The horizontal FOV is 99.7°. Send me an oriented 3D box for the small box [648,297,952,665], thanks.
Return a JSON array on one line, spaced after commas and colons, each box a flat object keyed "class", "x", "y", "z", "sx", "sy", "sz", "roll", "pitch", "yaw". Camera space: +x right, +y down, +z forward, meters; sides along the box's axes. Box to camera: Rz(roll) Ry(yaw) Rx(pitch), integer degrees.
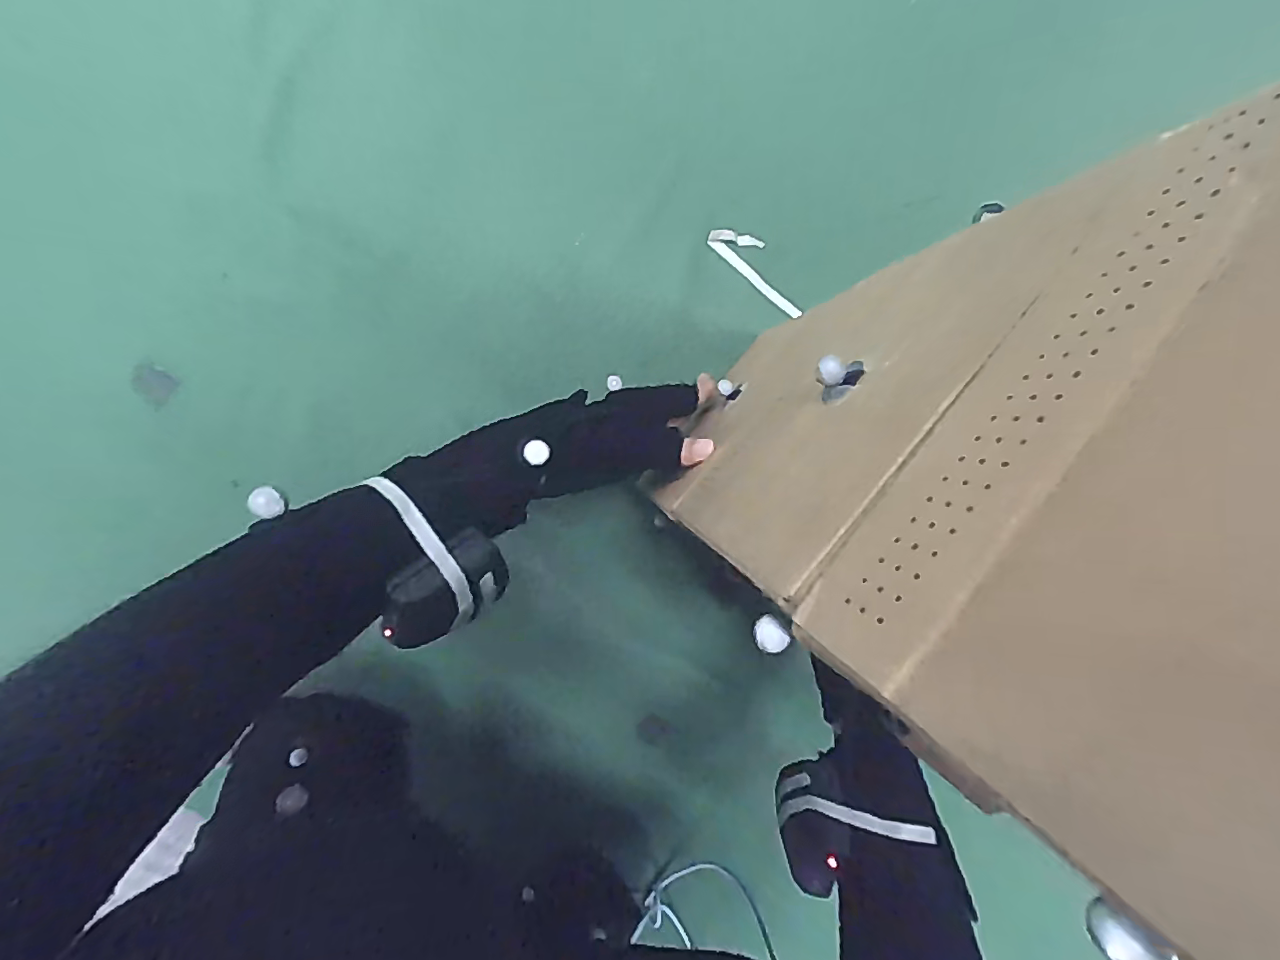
[{"class": "small box", "x": 0.121, "y": -0.002, "z": 0.417, "sx": 0.168, "sy": 0.176, "sz": 0.179, "roll": 40, "pitch": 88, "yaw": -9}]
